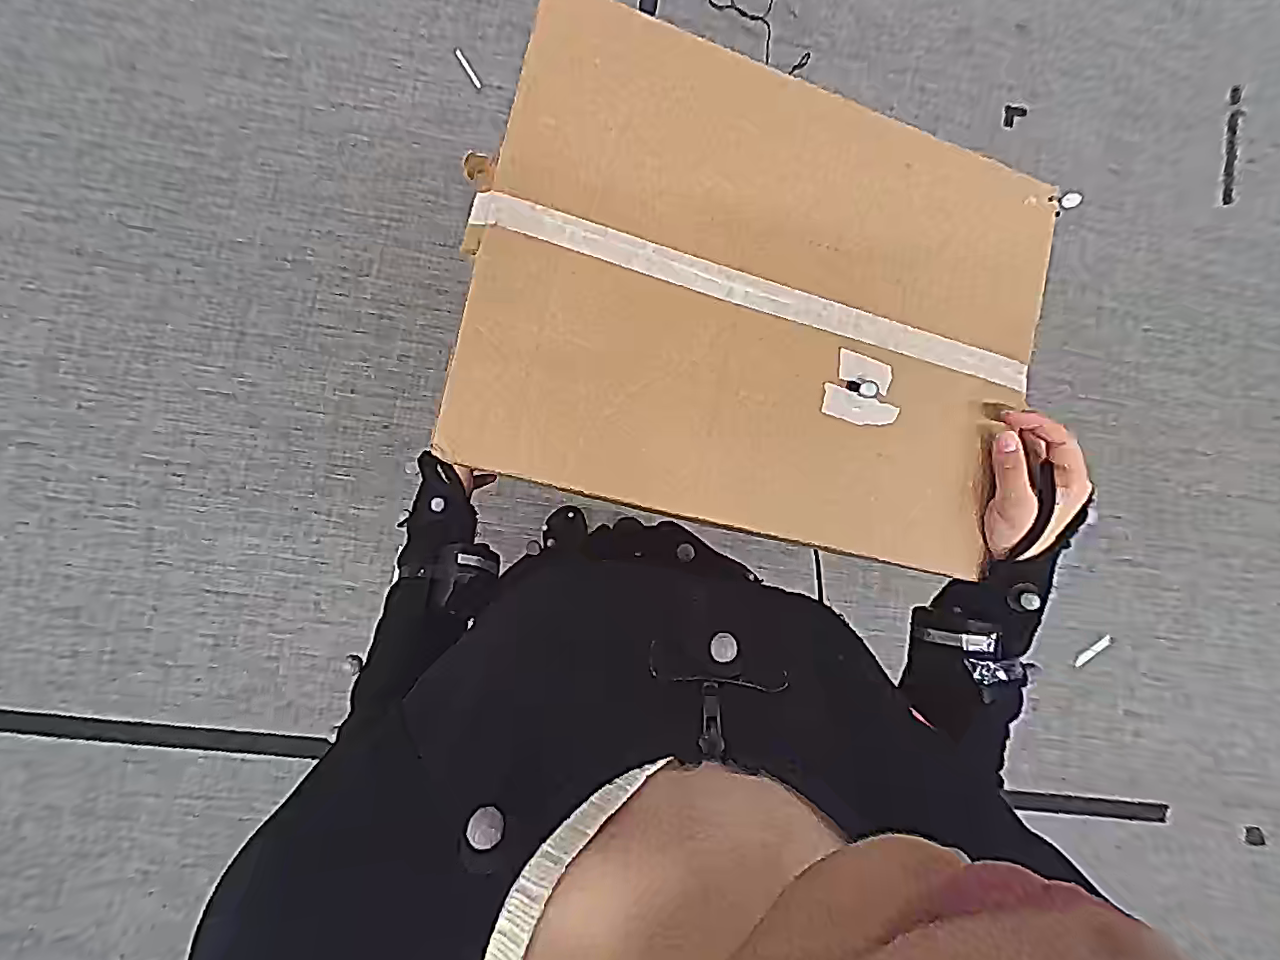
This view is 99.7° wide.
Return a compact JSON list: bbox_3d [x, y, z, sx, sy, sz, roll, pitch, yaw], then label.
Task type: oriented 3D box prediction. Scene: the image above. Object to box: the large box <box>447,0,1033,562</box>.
[{"bbox_3d":[0.063,-0.123,0.525,0.408,0.320,0.320,13,87,-13],"label":"large box"}]
